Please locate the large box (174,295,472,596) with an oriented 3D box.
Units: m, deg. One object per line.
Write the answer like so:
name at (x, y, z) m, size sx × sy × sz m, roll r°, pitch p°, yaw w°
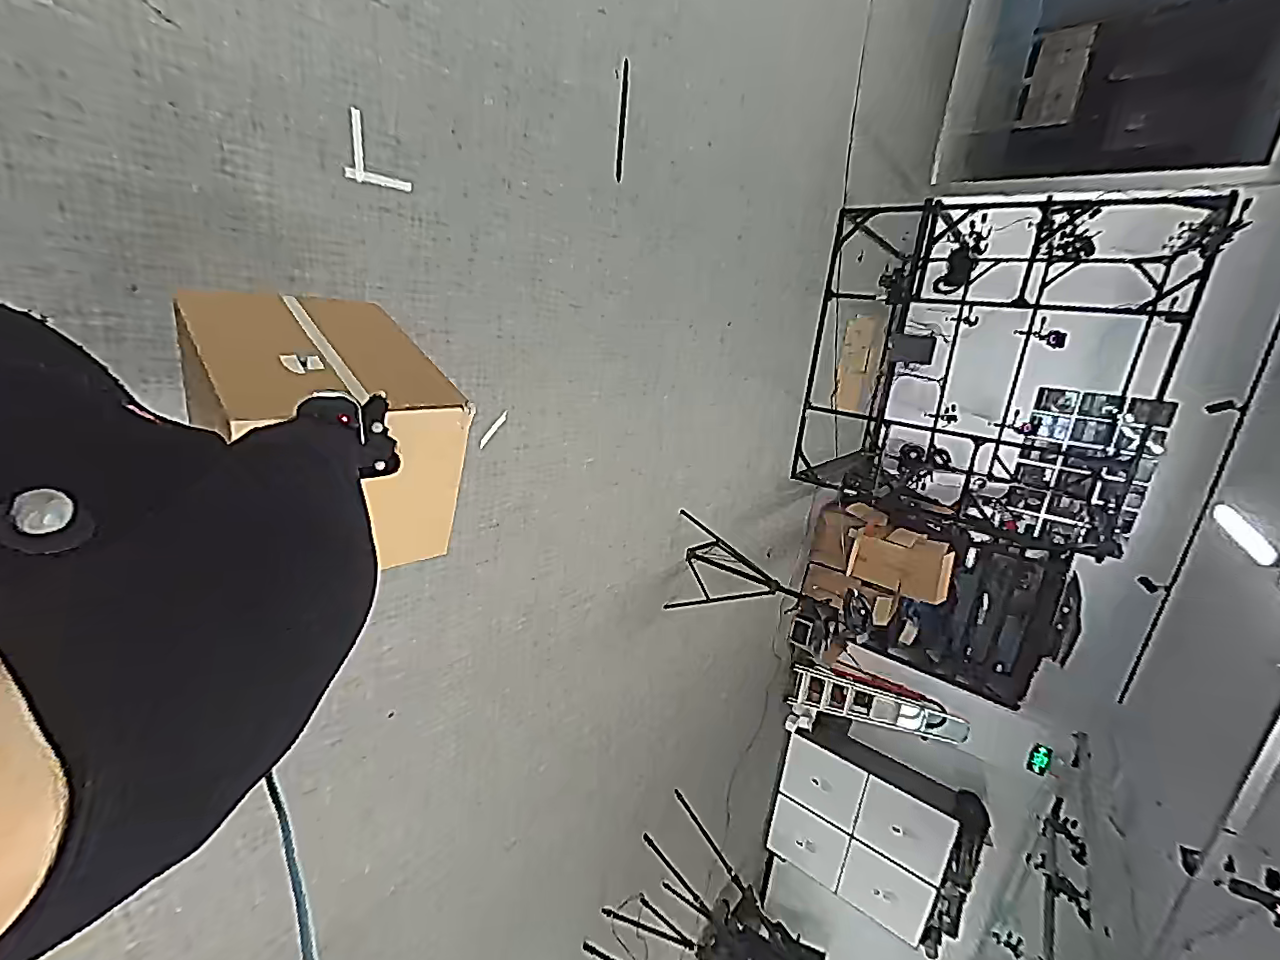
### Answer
large box at (-0.549, -0.078, 0.930) m, size 0.320 × 0.408 × 0.320 m, roll -13°, pitch 135°, yaw -44°
